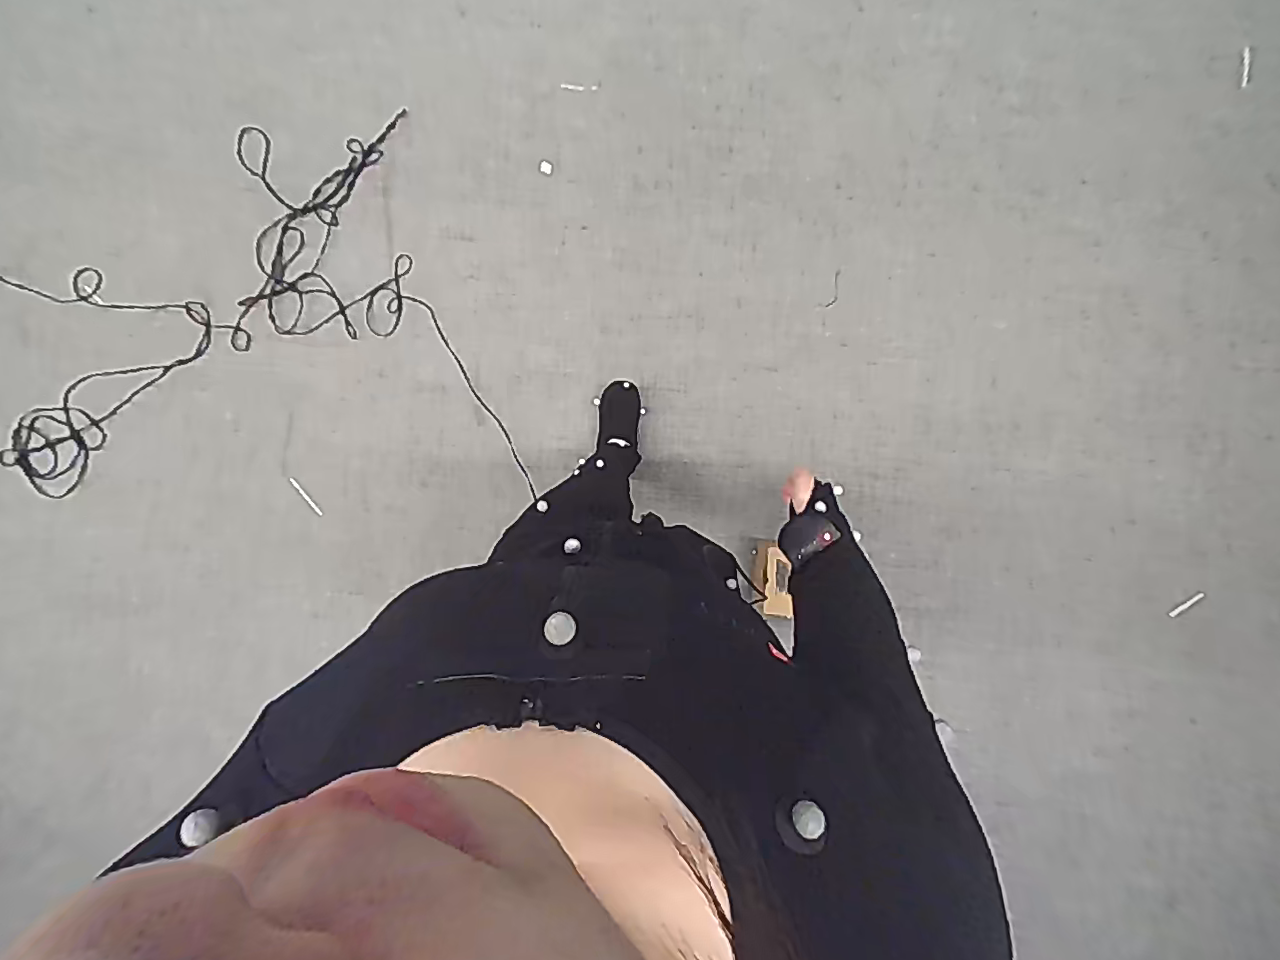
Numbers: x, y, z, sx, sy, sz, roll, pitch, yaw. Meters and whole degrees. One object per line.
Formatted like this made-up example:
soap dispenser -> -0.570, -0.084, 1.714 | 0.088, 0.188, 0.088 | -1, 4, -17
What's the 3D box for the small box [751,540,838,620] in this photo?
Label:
small box -> 0.390, 0.251, 1.394 | 0.179, 0.176, 0.168 | 6, 90, 2
